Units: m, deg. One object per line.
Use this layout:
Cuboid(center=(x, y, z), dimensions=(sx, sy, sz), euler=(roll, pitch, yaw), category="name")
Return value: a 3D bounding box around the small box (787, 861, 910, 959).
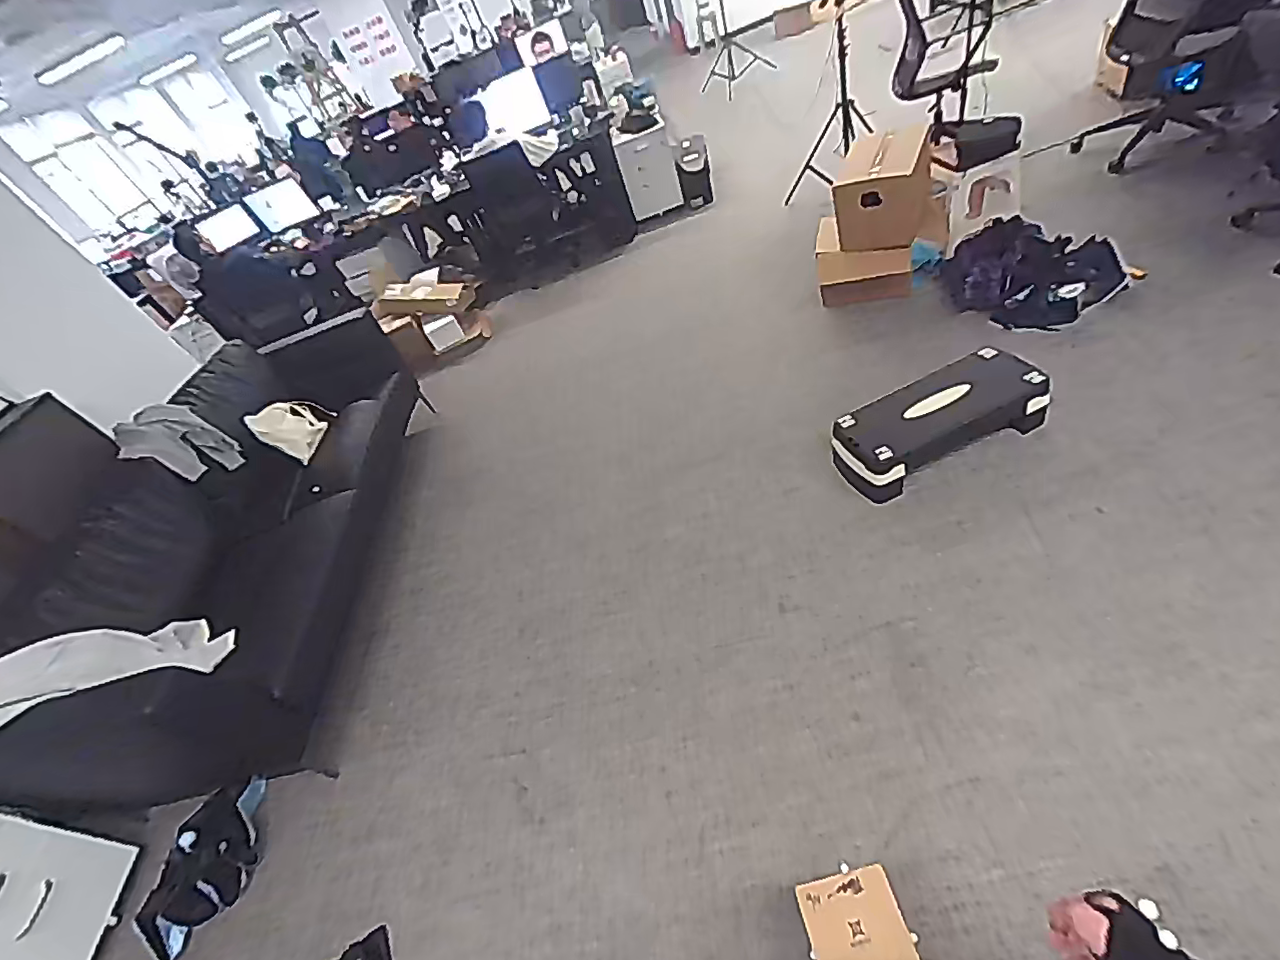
Cuboid(center=(0.386, 0.830, 0.988), dimensions=(0.168, 0.176, 0.179), euler=(-20, 44, 6), category="small box")
